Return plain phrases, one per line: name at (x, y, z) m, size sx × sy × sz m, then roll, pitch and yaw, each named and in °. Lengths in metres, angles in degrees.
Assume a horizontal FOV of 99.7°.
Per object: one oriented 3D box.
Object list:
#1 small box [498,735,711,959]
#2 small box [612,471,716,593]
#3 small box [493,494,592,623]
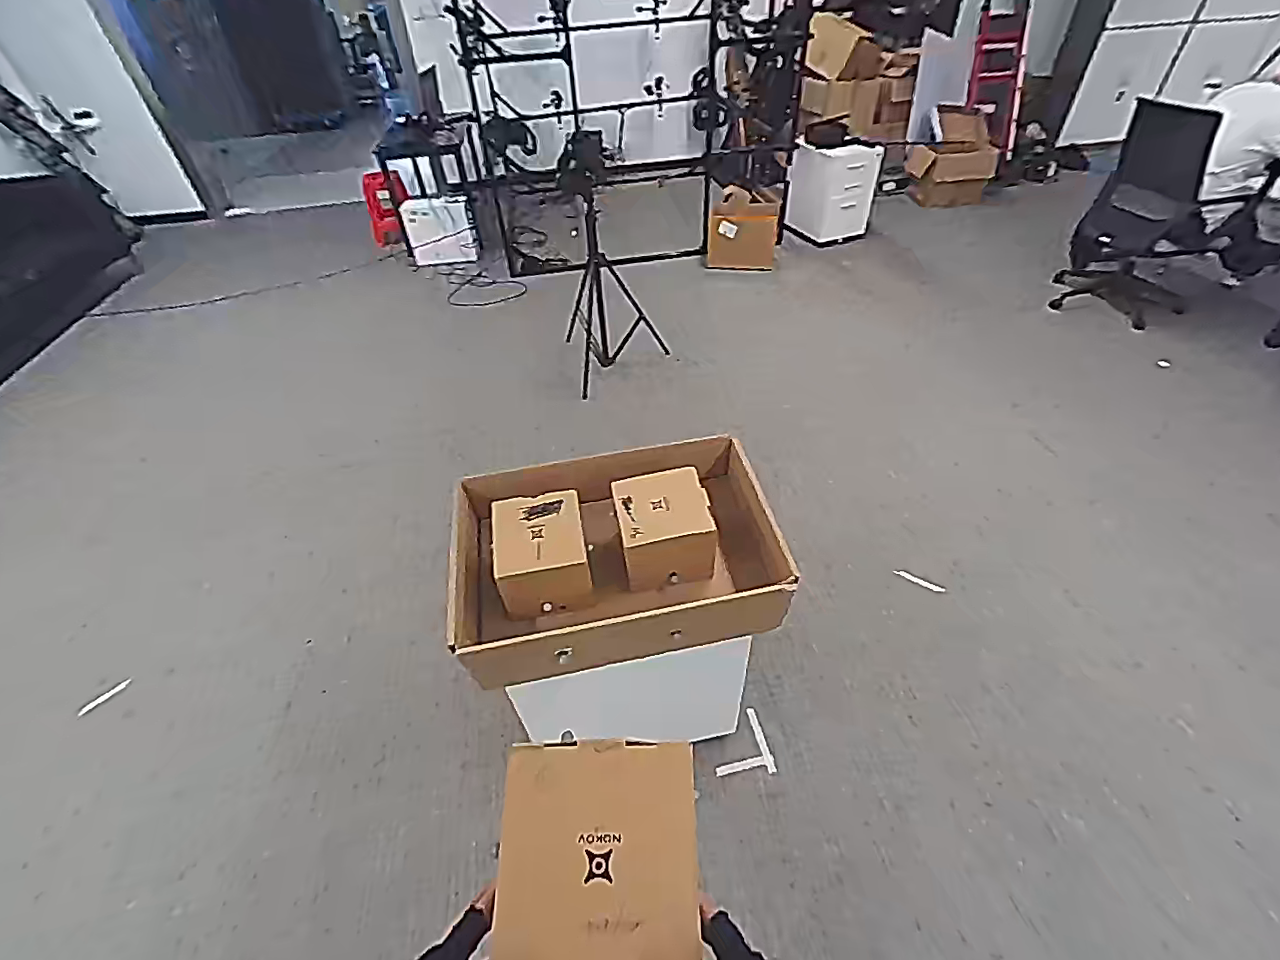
small box at (-0.032, 0.348, 0.515) m, size 0.168 × 0.176 × 0.179 m, roll 0°, pitch 61°, yaw -3°
small box at (0.045, 0.108, 1.101) m, size 0.179 × 0.176 × 0.168 m, roll -11°, pitch 48°, yaw -5°
small box at (-0.190, 0.156, 1.067) m, size 0.168 × 0.176 × 0.179 m, roll -10°, pitch 49°, yaw -7°
